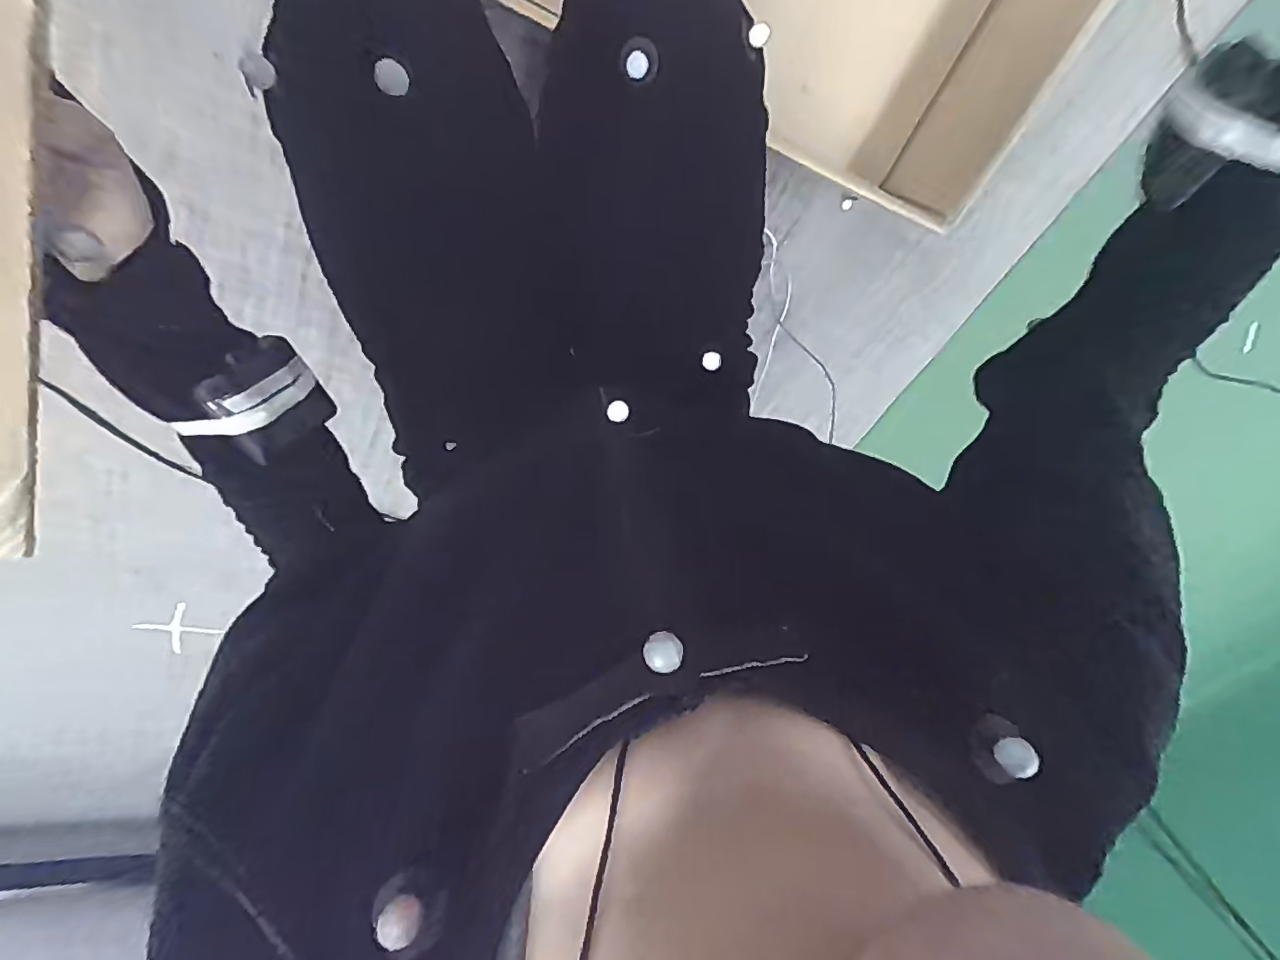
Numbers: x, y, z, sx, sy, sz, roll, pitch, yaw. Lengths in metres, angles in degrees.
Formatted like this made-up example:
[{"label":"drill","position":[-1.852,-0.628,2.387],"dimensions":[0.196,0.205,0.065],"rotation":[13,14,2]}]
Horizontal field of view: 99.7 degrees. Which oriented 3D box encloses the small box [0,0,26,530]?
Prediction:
[{"label":"small box","position":[-0.217,-0.098,0.080],"dimensions":[0.168,0.179,0.176],"rotation":[1,144,-48]}]
